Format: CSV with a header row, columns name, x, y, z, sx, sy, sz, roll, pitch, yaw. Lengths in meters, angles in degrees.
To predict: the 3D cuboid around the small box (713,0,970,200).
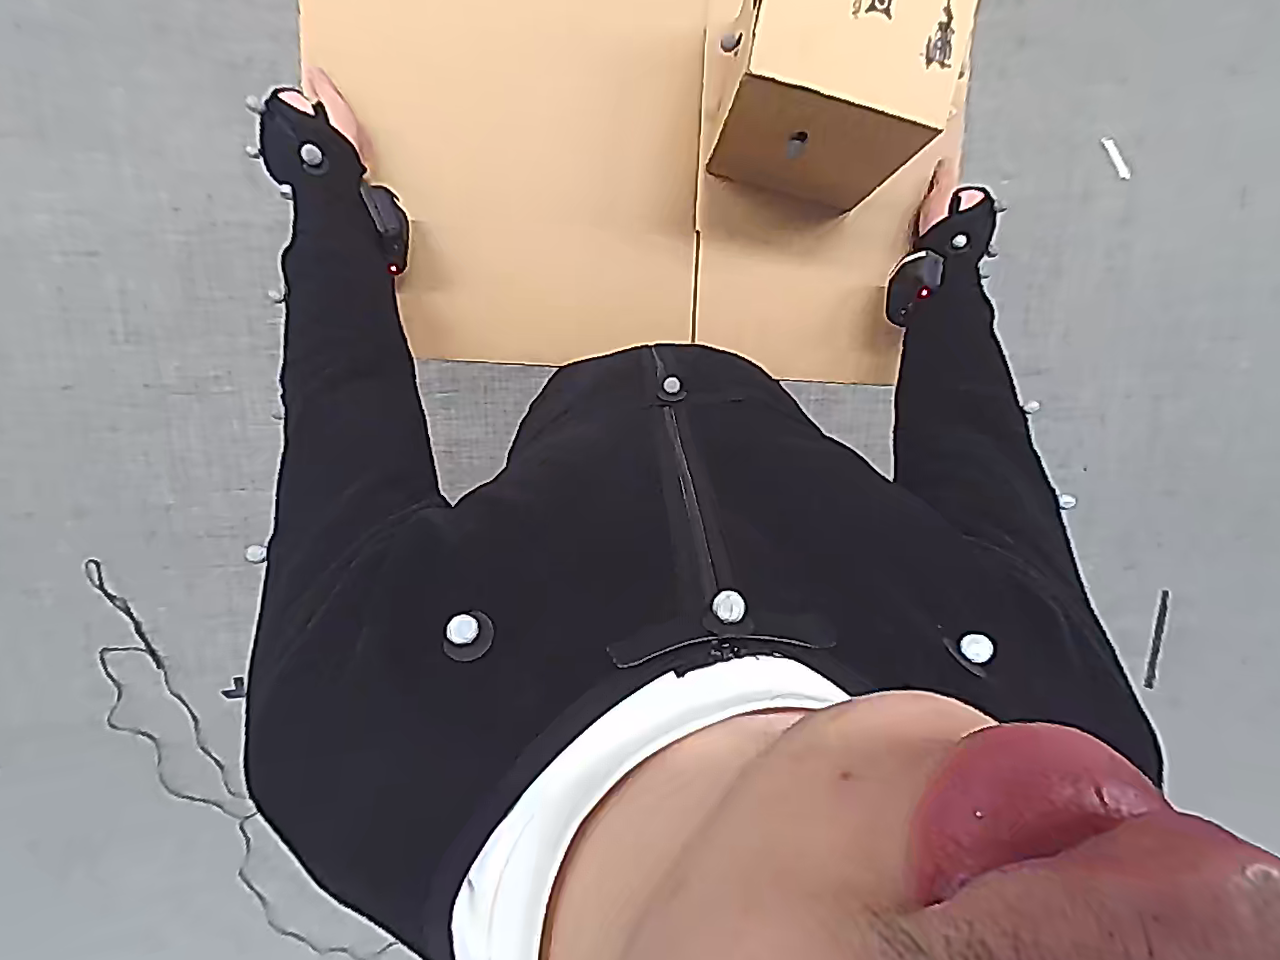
name,x,y,z,sx,sy,sz,roll,pitch,yaw
small box,0.180,-0.399,0.521,0.179,0.176,0.168,12,95,-4
